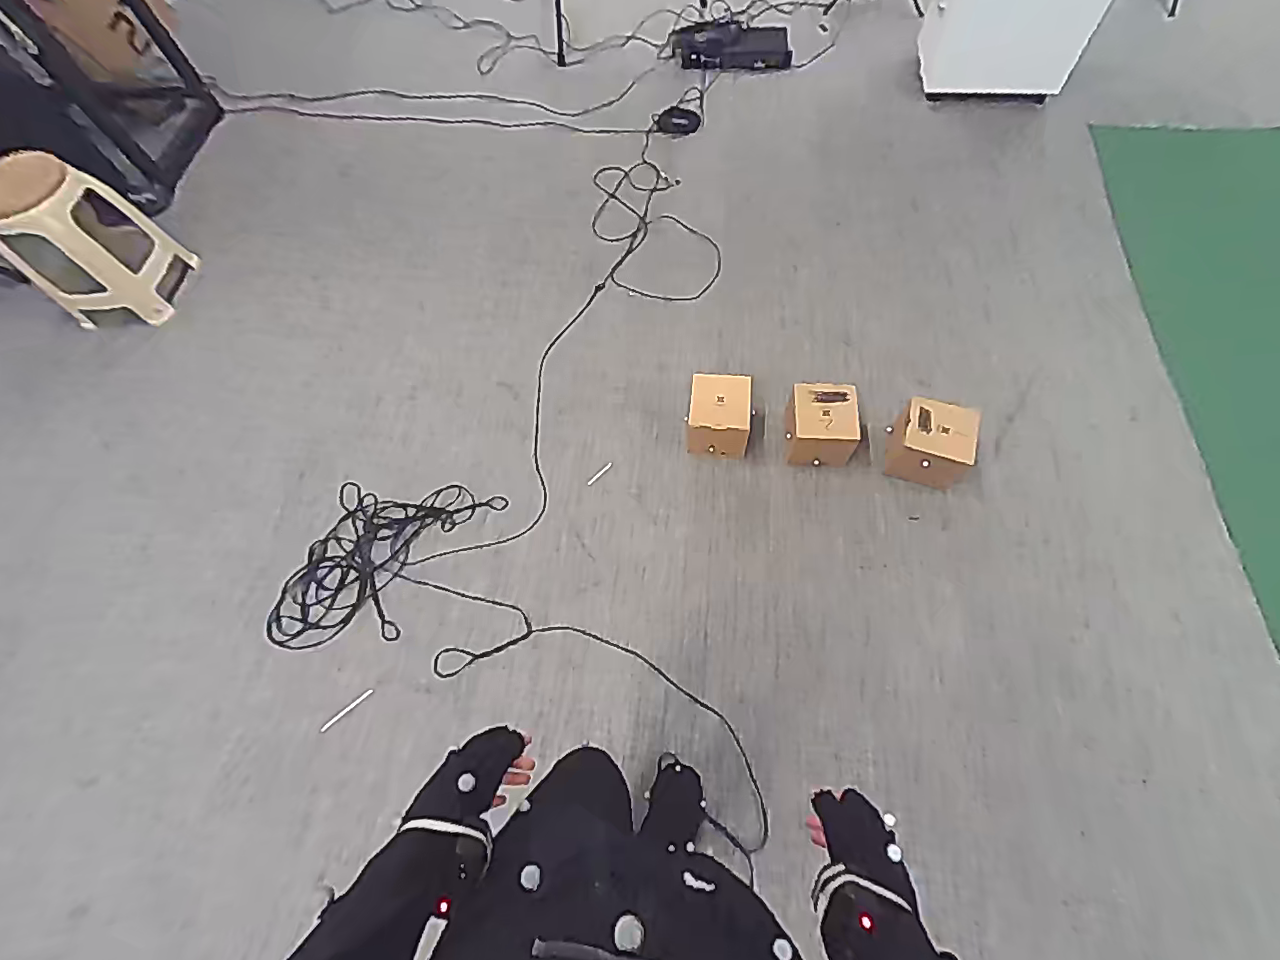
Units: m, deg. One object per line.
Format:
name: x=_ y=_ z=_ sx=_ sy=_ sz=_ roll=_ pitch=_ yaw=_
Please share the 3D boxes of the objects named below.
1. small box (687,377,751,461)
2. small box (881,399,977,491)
small box: x=0.226 y=-0.175 z=1.565 sx=0.168 sy=0.176 sz=0.179 roll=4 pitch=65 yaw=6
small box: x=0.784 y=-0.090 z=1.480 sx=0.179 sy=0.176 sz=0.168 roll=18 pitch=67 yaw=11
